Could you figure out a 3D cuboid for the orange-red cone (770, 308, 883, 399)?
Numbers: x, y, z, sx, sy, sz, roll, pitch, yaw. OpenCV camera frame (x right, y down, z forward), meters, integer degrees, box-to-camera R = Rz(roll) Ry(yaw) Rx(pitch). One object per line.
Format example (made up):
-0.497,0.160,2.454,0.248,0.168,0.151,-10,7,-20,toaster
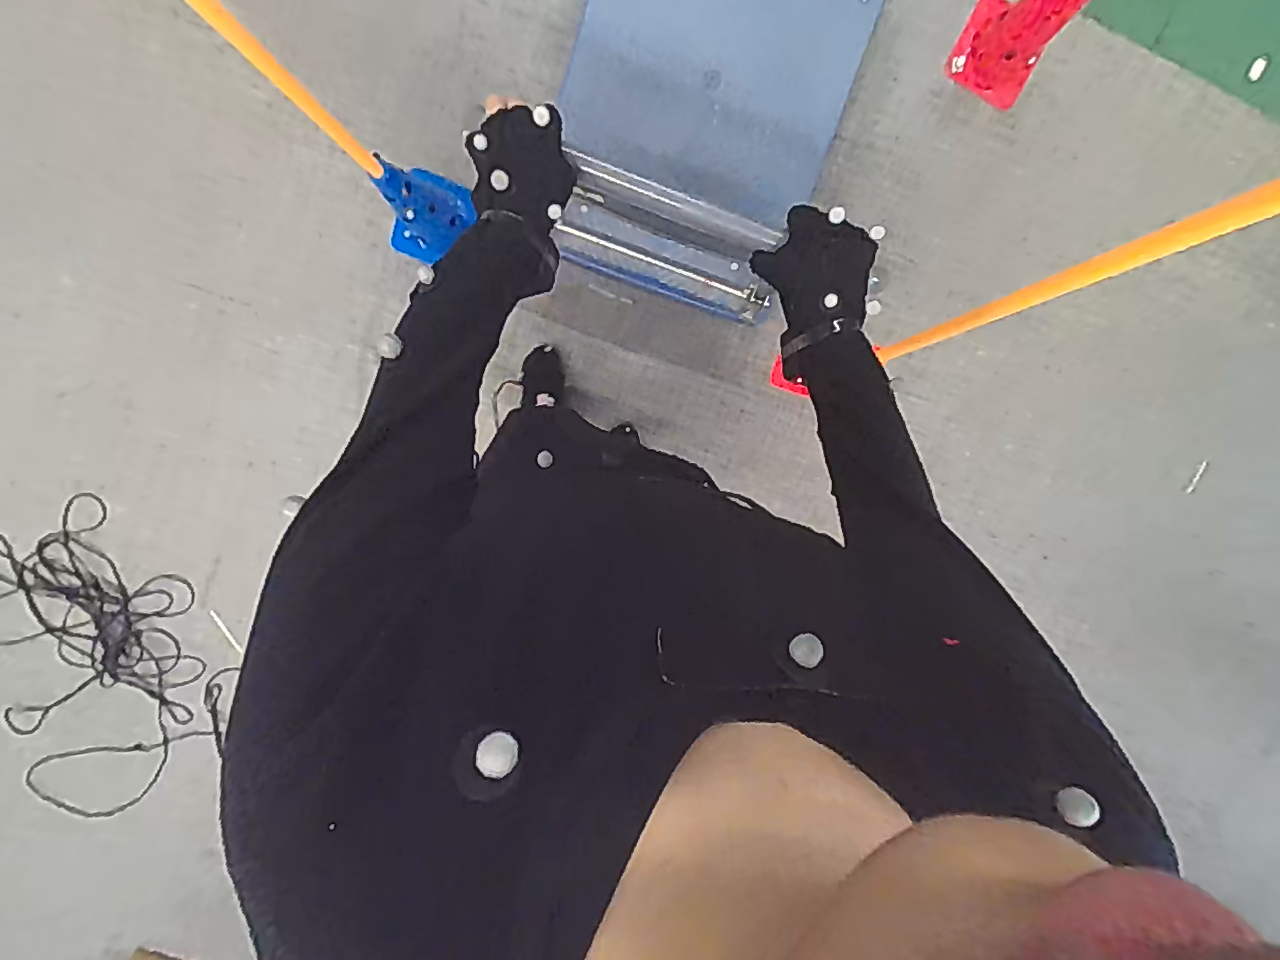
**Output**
0.468,-0.302,1.268,0.199,0.360,0.198,20,100,-5,orange-red cone
